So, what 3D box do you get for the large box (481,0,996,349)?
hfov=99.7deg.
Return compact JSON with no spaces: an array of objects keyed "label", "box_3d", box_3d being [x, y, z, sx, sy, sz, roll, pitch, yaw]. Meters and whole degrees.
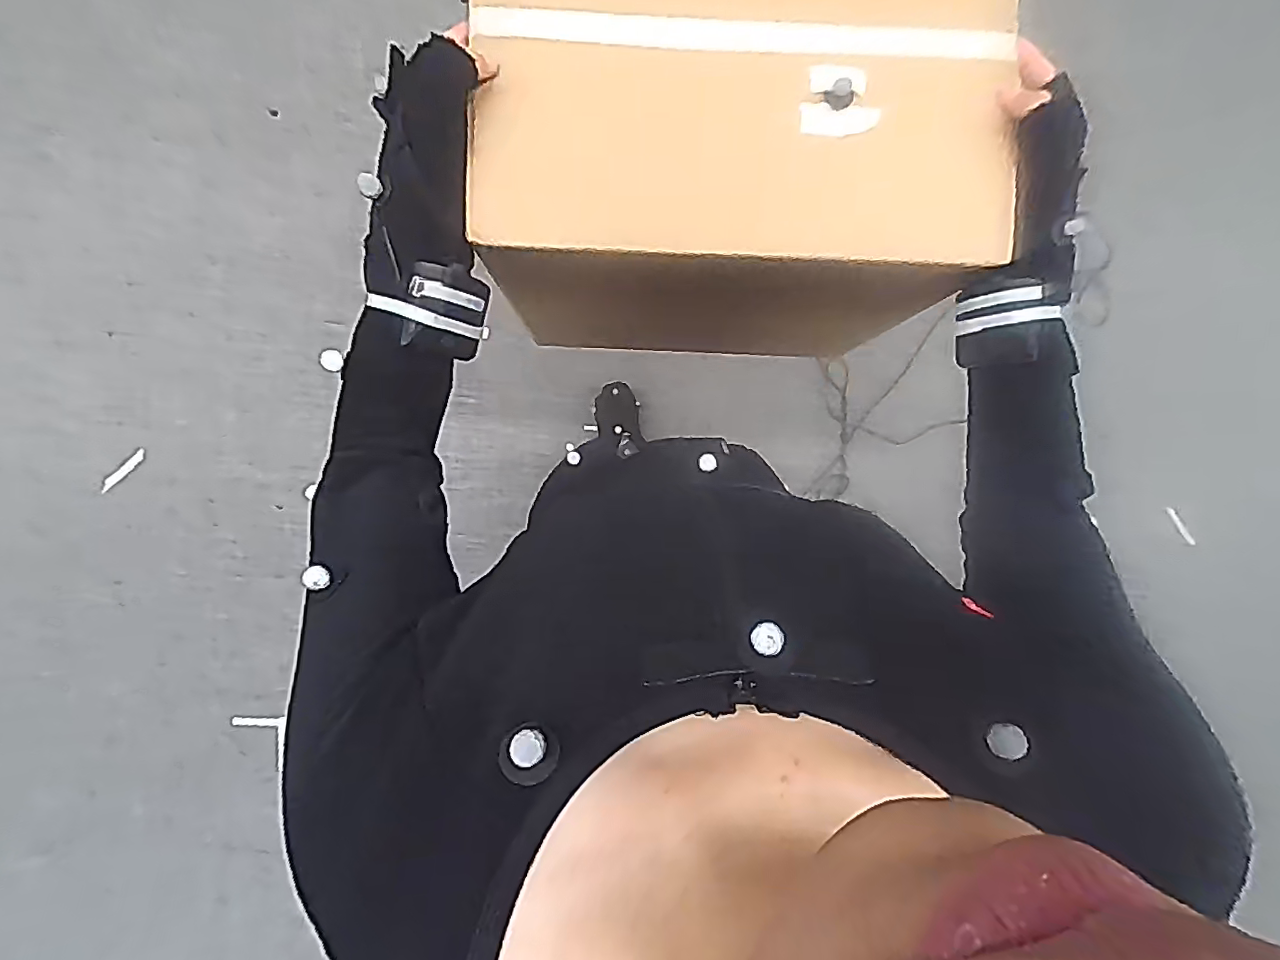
[{"label":"large box","box_3d":[0.071,-0.328,0.565,0.408,0.320,0.320,1,90,-2]}]
